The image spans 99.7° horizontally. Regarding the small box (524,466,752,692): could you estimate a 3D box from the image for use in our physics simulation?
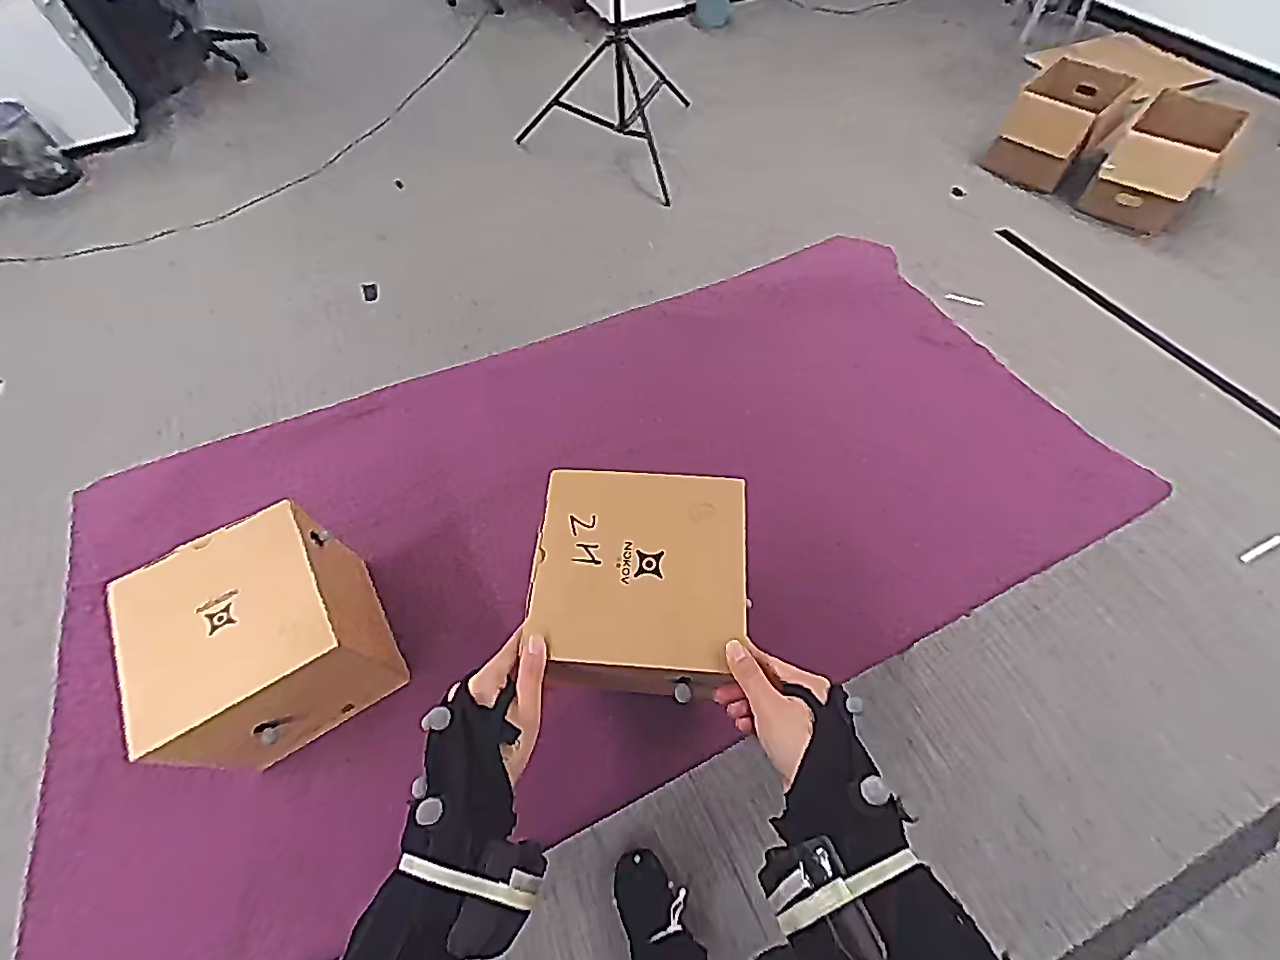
[{"bbox_3d":[0.007,0.102,0.516,0.179,0.176,0.168,3,62,5],"label":"small box"}]

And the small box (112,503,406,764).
[{"bbox_3d":[-0.368,0.161,0.549,0.168,0.176,0.179,-30,62,-16],"label":"small box"}]
